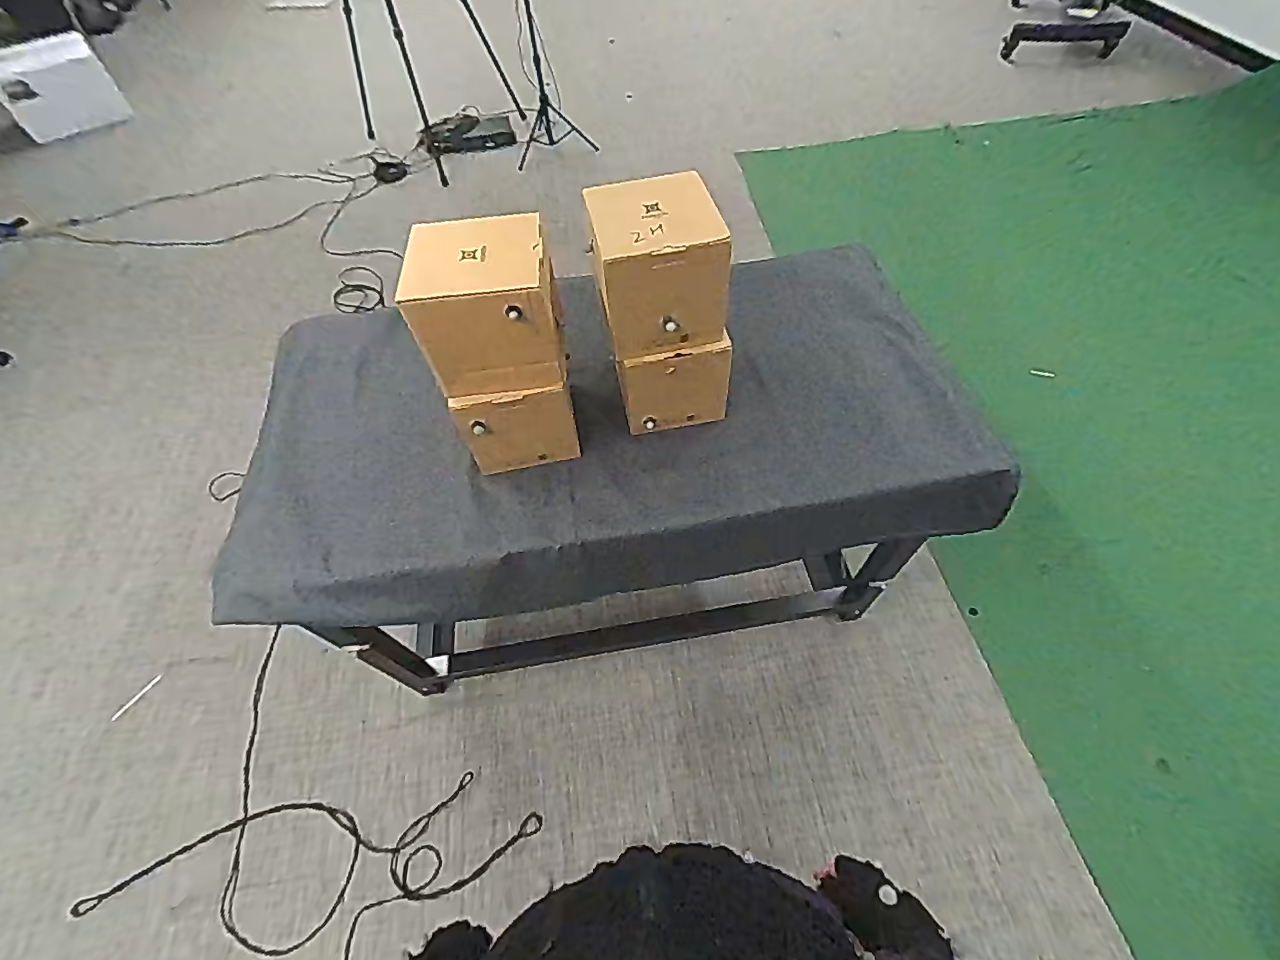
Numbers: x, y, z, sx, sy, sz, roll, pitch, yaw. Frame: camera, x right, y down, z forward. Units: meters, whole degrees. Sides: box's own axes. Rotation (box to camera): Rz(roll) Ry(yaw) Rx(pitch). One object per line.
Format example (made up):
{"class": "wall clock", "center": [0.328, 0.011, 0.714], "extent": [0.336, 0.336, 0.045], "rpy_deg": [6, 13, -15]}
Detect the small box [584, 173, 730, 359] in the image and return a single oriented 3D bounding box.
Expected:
{"class": "small box", "center": [0.021, -0.304, 0.776], "extent": [0.168, 0.176, 0.179], "rpy_deg": [-12, 57, -3]}

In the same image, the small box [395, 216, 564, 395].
{"class": "small box", "center": [-0.206, -0.234, 0.747], "extent": [0.179, 0.176, 0.168], "rpy_deg": [-7, 55, -1]}

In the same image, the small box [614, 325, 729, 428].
{"class": "small box", "center": [0.046, -0.204, 0.905], "extent": [0.168, 0.176, 0.179], "rpy_deg": [-11, 56, -3]}
